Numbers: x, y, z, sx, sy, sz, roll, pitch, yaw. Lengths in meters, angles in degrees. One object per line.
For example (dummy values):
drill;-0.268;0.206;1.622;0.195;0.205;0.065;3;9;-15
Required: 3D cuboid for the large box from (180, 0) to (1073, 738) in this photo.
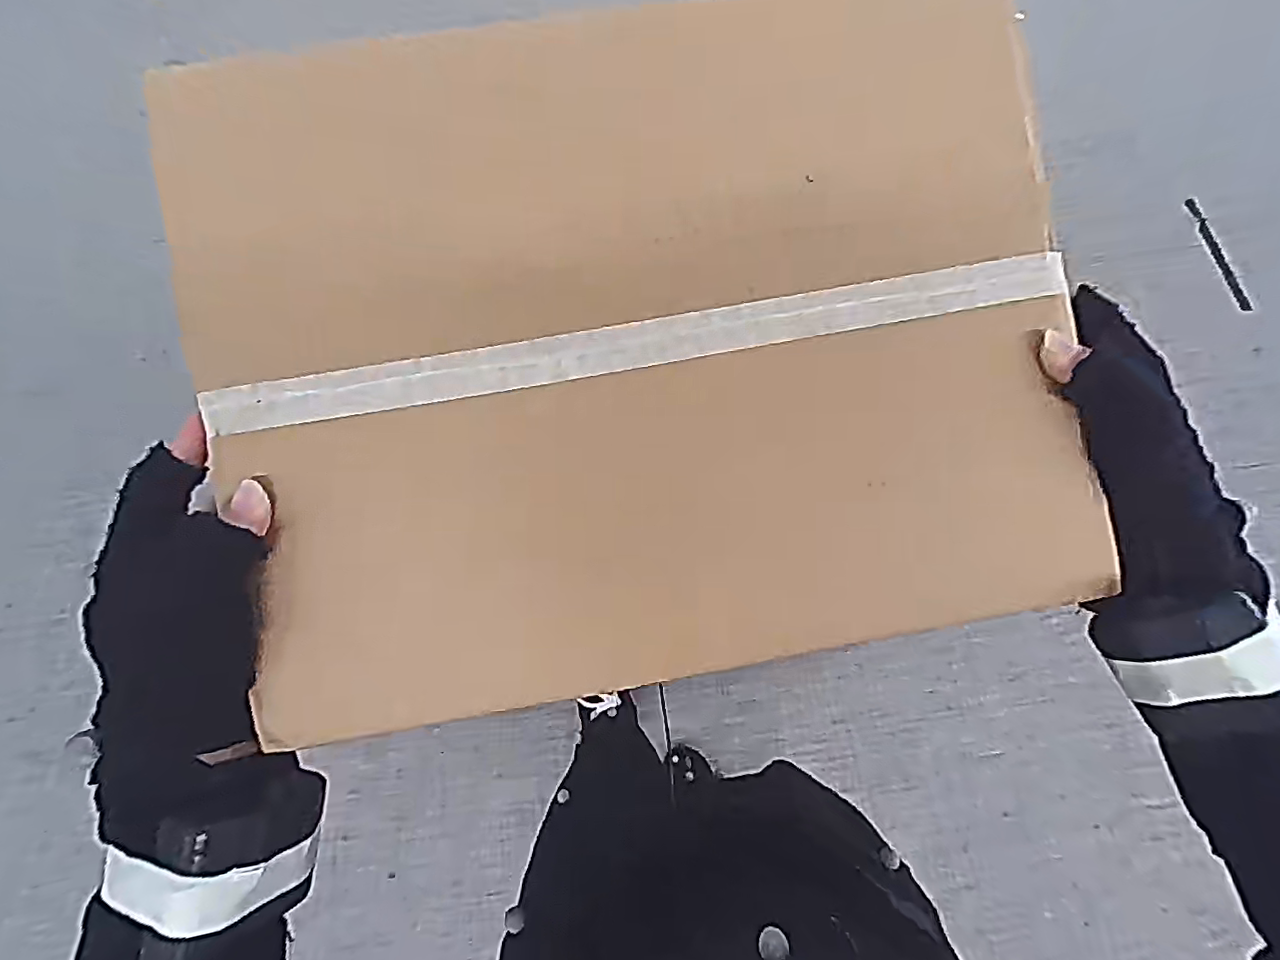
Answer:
large box;-0.004;-0.062;0.414;0.408;0.320;0.320;-10;89;-3
